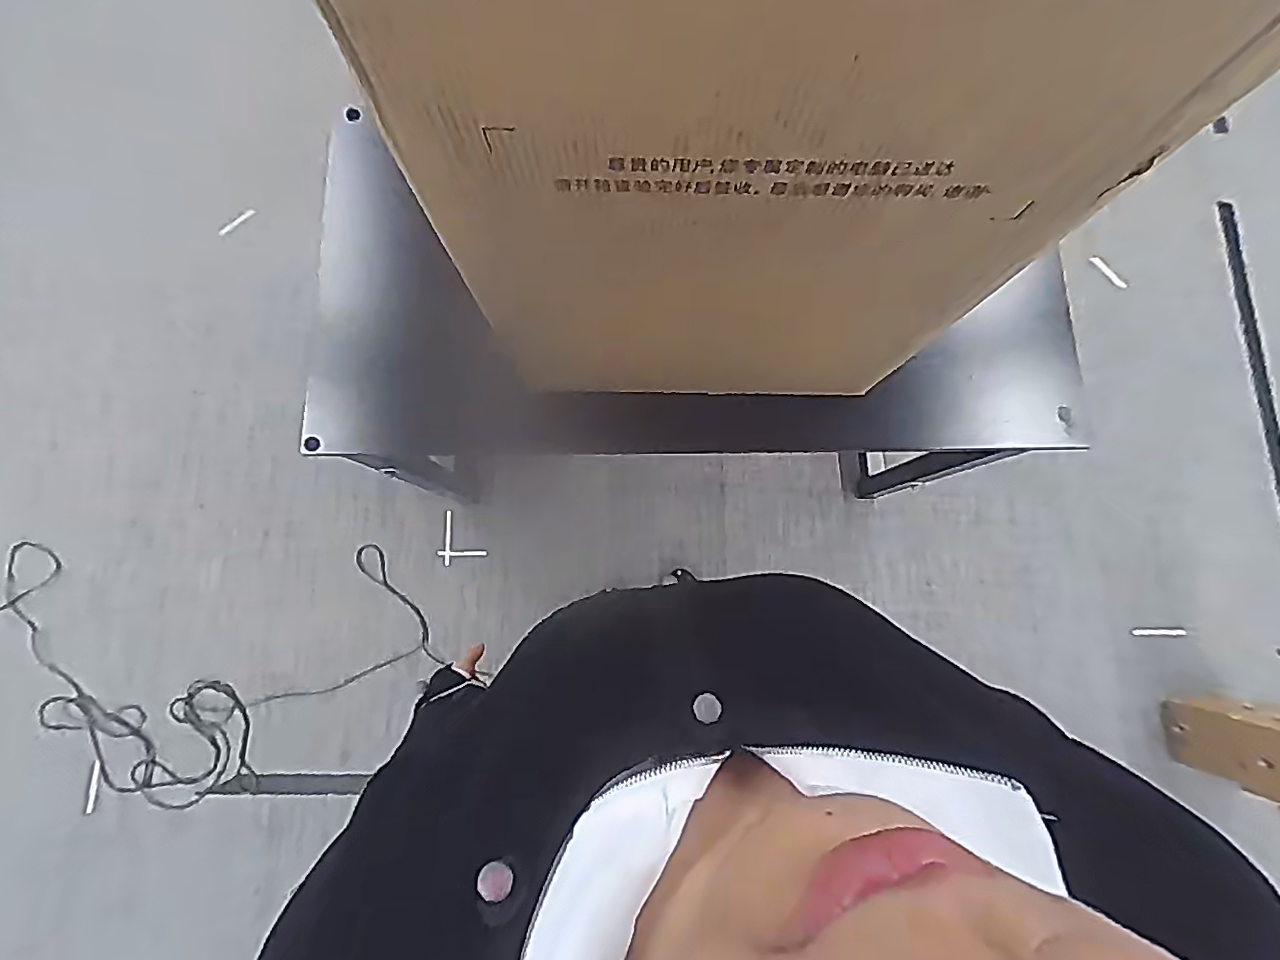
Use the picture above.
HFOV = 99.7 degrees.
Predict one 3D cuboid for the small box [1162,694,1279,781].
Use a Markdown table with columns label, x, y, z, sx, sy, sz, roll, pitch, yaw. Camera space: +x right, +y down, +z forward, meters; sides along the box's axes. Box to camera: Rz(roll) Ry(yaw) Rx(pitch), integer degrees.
| label | x | y | z | sx | sy | sz | roll | pitch | yaw |
| --- | --- | --- | --- | --- | --- | --- | --- | --- | --- |
| small box | 1.513 | 0.651 | 1.385 | 0.179 | 0.176 | 0.168 | -3 | 79 | 0 |

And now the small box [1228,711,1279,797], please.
| label | x | y | z | sx | sy | sz | roll | pitch | yaw |
| --- | --- | --- | --- | --- | --- | --- | --- | --- | --- |
| small box | 1.499 | 0.628 | 1.222 | 0.179 | 0.176 | 0.168 | -2 | 80 | -1 |
